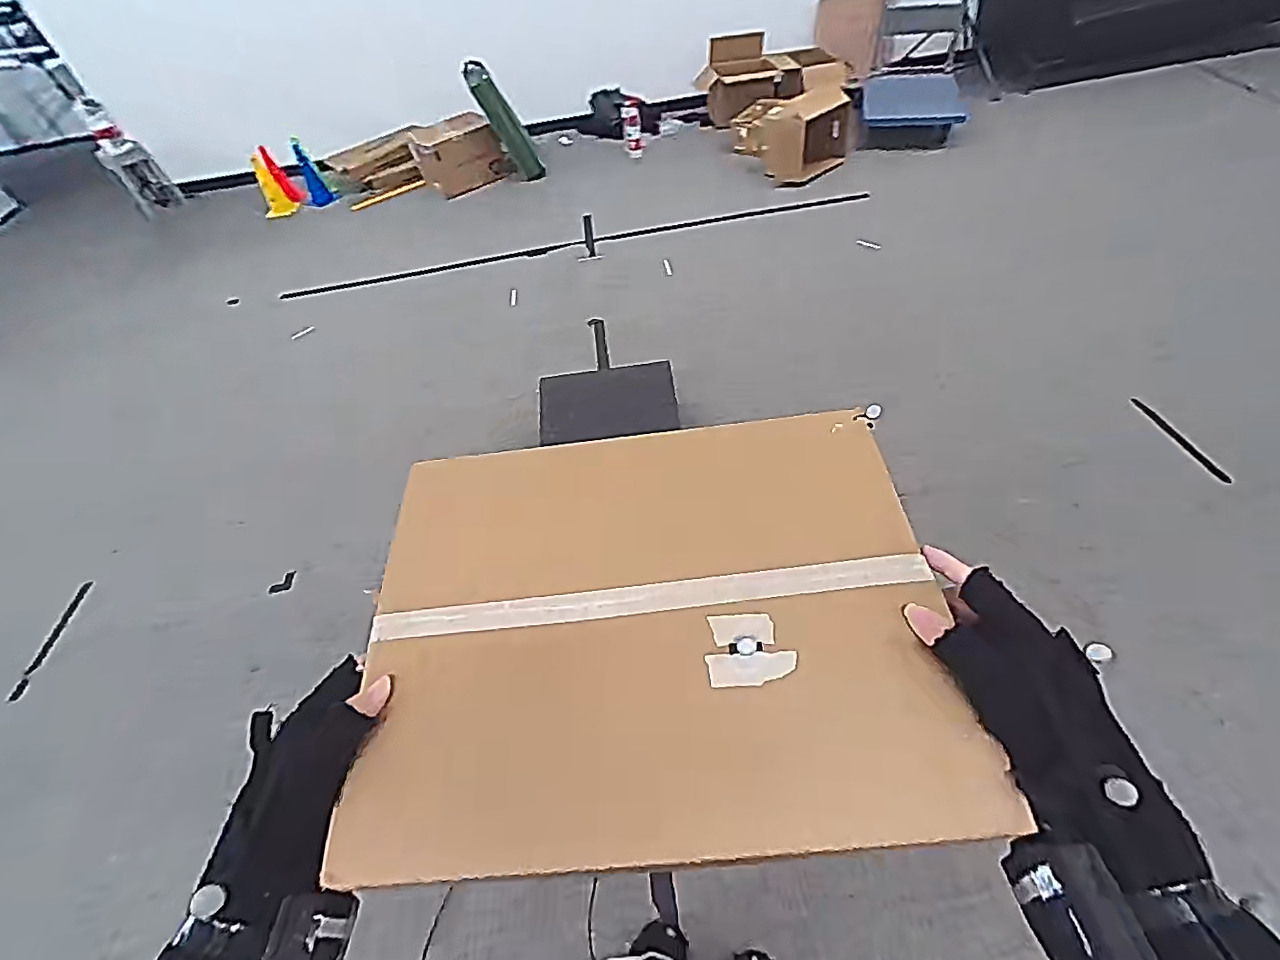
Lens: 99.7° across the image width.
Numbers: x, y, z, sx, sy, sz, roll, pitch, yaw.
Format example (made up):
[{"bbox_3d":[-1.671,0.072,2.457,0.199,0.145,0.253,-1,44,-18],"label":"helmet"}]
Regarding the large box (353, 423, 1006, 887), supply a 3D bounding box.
[{"bbox_3d":[0.022,0.183,0.528,0.408,0.320,0.320,-7,54,2],"label":"large box"}]
